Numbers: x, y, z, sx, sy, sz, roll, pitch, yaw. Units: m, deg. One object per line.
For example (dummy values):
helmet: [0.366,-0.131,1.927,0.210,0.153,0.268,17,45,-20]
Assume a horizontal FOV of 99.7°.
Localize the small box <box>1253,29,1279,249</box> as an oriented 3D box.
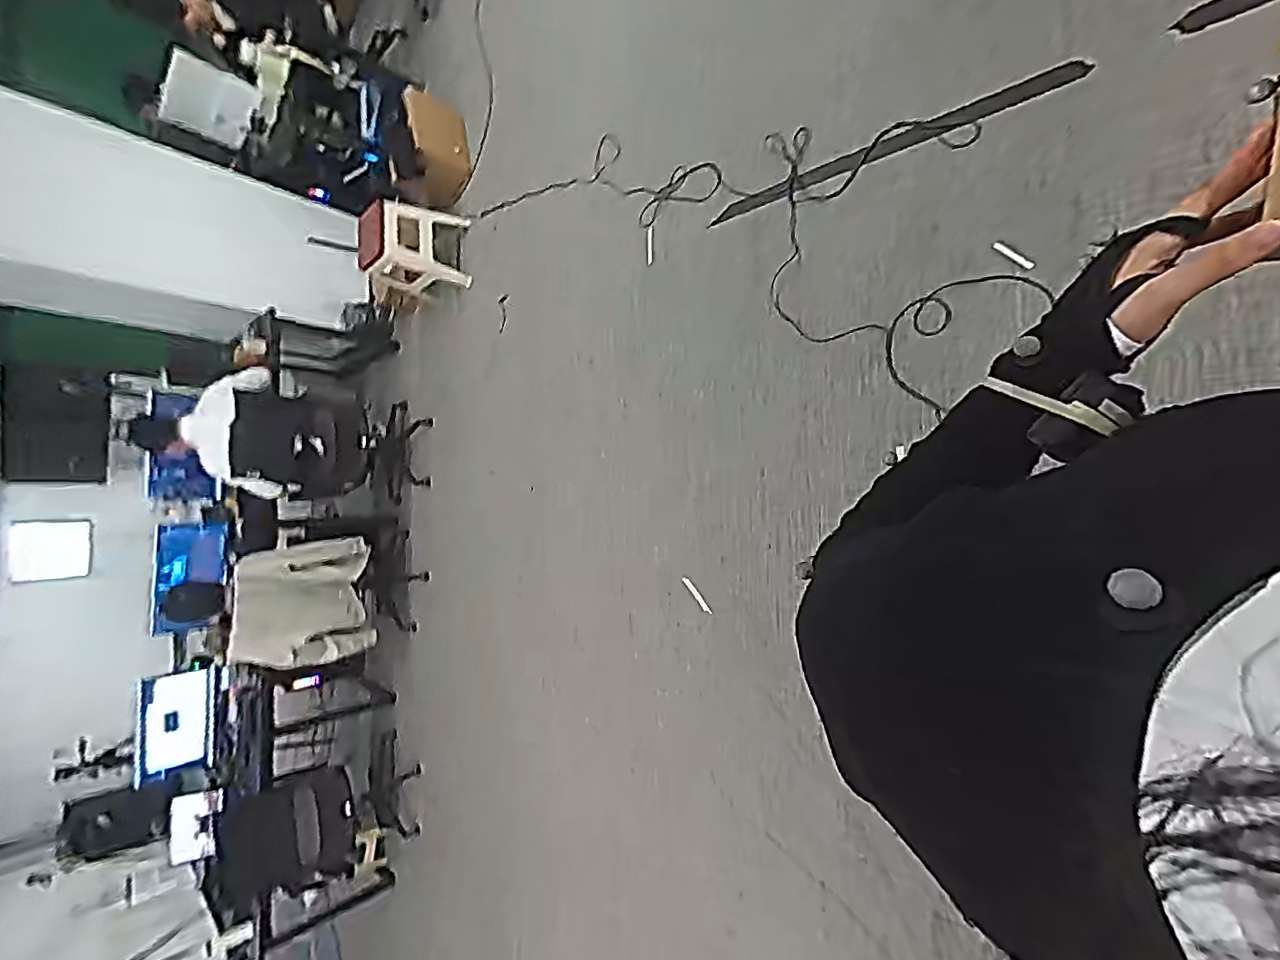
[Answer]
small box: [0.455,-0.232,0.283,0.168,0.176,0.179,8,107,48]
